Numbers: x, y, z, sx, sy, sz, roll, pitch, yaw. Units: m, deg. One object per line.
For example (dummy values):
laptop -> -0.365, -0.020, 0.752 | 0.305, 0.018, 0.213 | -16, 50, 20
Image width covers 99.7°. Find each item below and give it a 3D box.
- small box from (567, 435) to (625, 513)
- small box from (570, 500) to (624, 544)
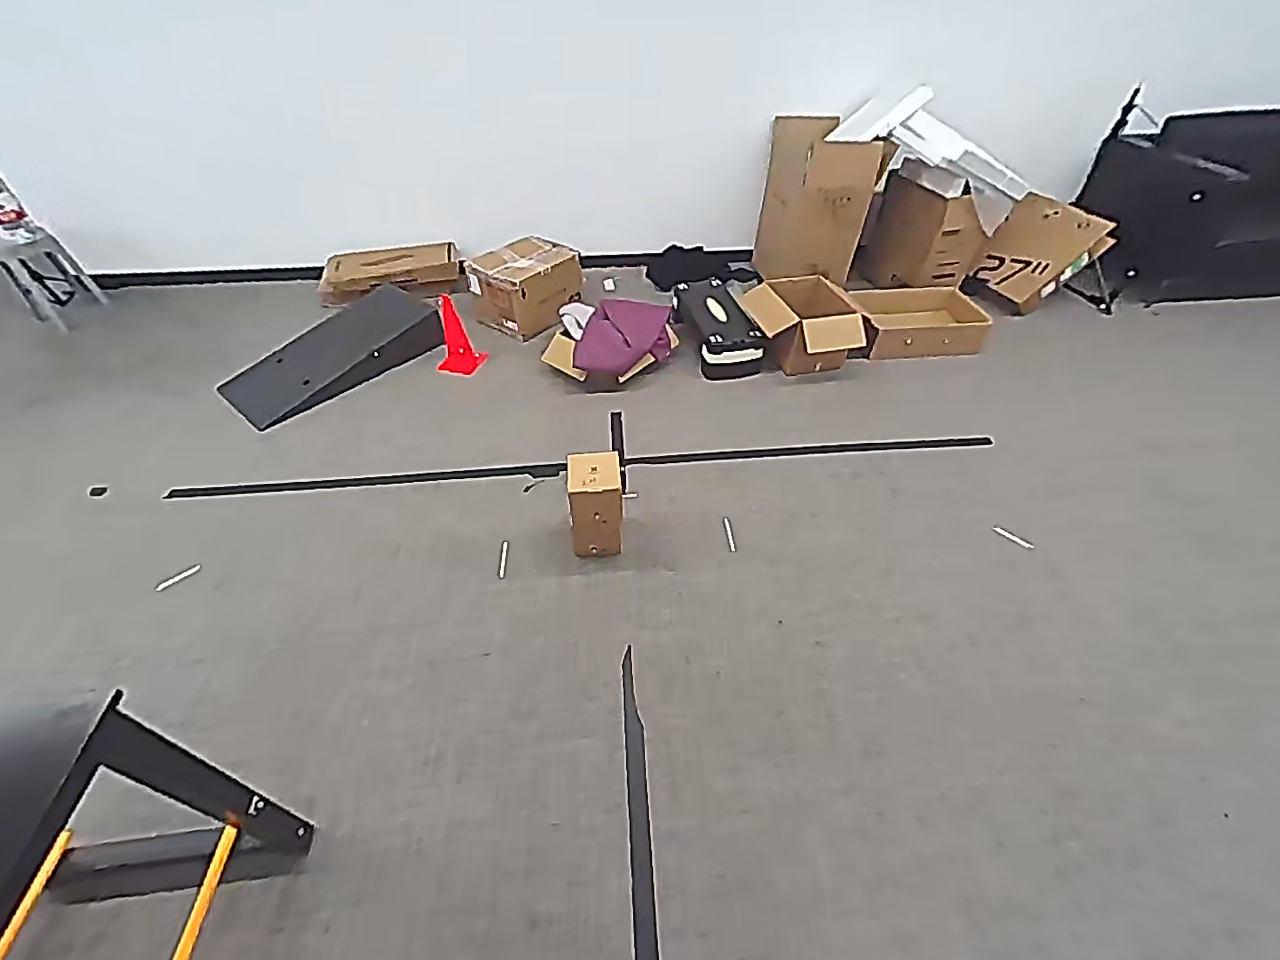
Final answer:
small box -> -0.136, -0.019, 1.684 | 0.168, 0.176, 0.179 | -5, 45, -3
small box -> -0.144, 0.093, 1.806 | 0.168, 0.176, 0.179 | -5, 47, -4
